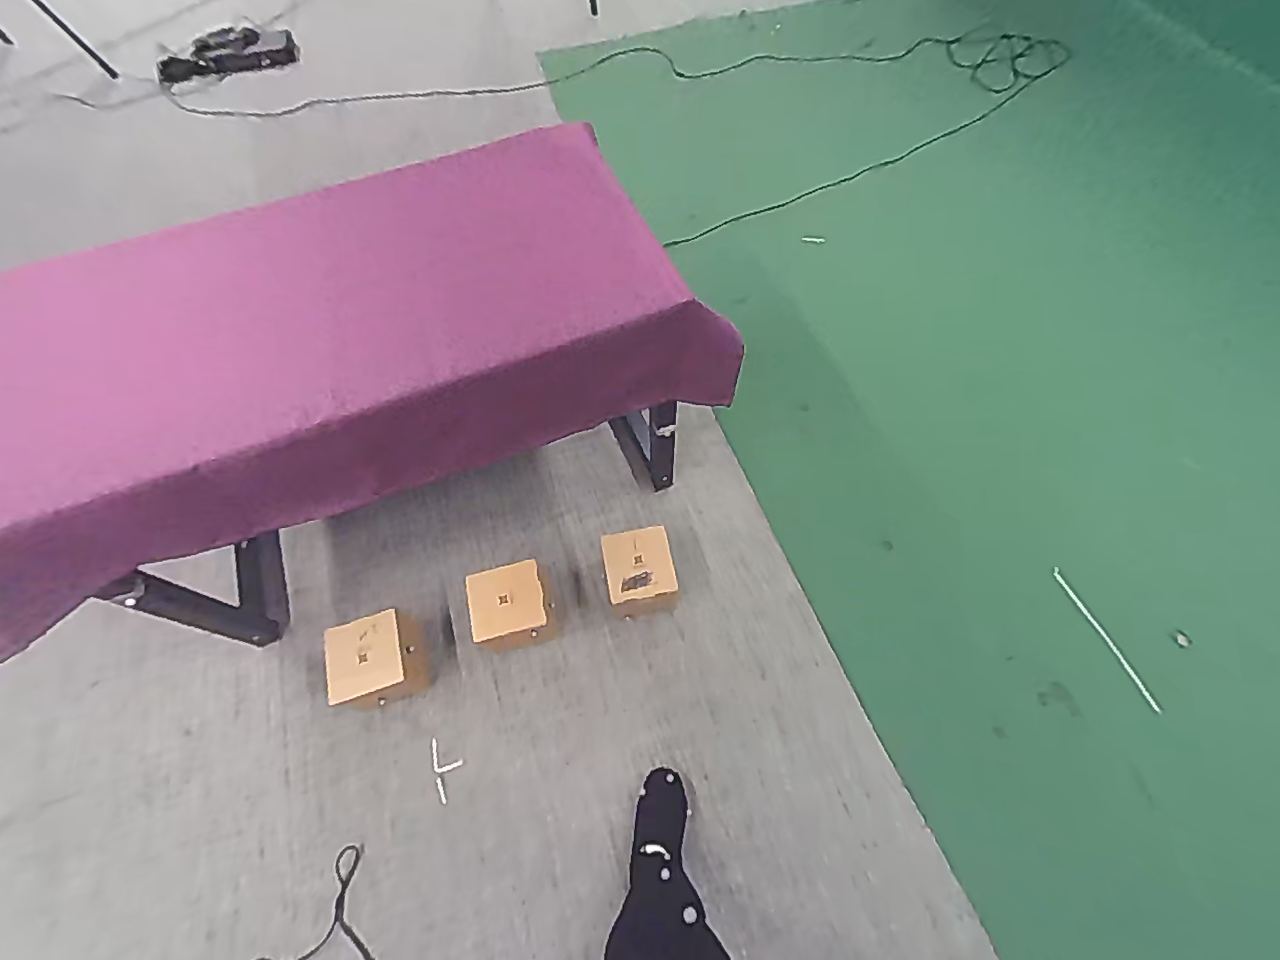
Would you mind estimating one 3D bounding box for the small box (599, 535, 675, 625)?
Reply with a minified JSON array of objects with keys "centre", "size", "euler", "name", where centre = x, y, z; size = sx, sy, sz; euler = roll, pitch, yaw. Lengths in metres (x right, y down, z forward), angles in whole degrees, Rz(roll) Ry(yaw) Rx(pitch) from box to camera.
[{"centre":[-0.007,0.263,1.387],"size":[0.168,0.176,0.179],"euler":[-10,61,-4],"name":"small box"}]
